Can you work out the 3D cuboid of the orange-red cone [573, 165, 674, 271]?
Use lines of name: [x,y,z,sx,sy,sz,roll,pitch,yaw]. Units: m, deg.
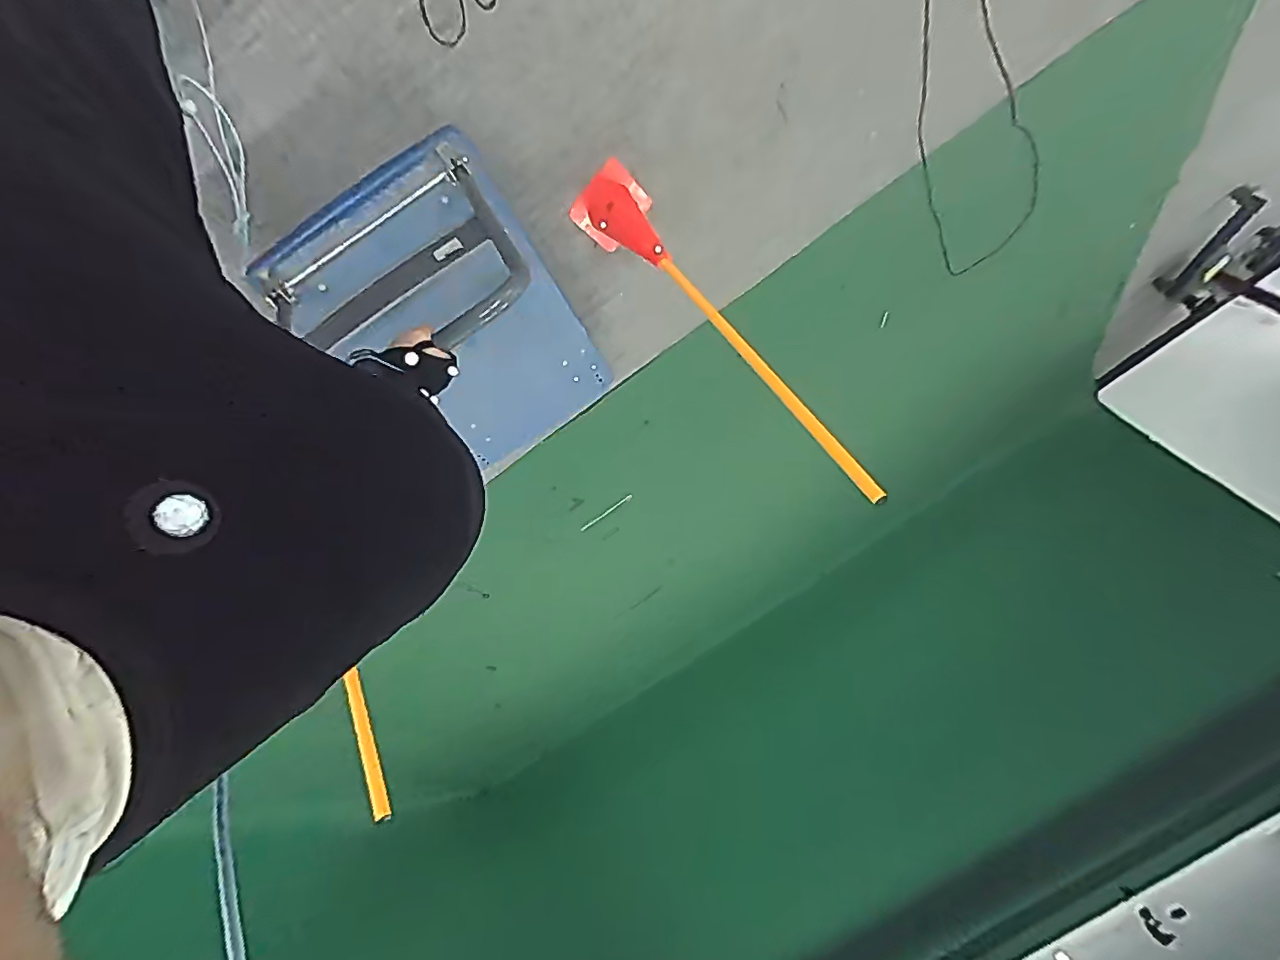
orange-red cone: [-0.005,-0.679,1.495,0.199,0.360,0.198,-46,143,16]
